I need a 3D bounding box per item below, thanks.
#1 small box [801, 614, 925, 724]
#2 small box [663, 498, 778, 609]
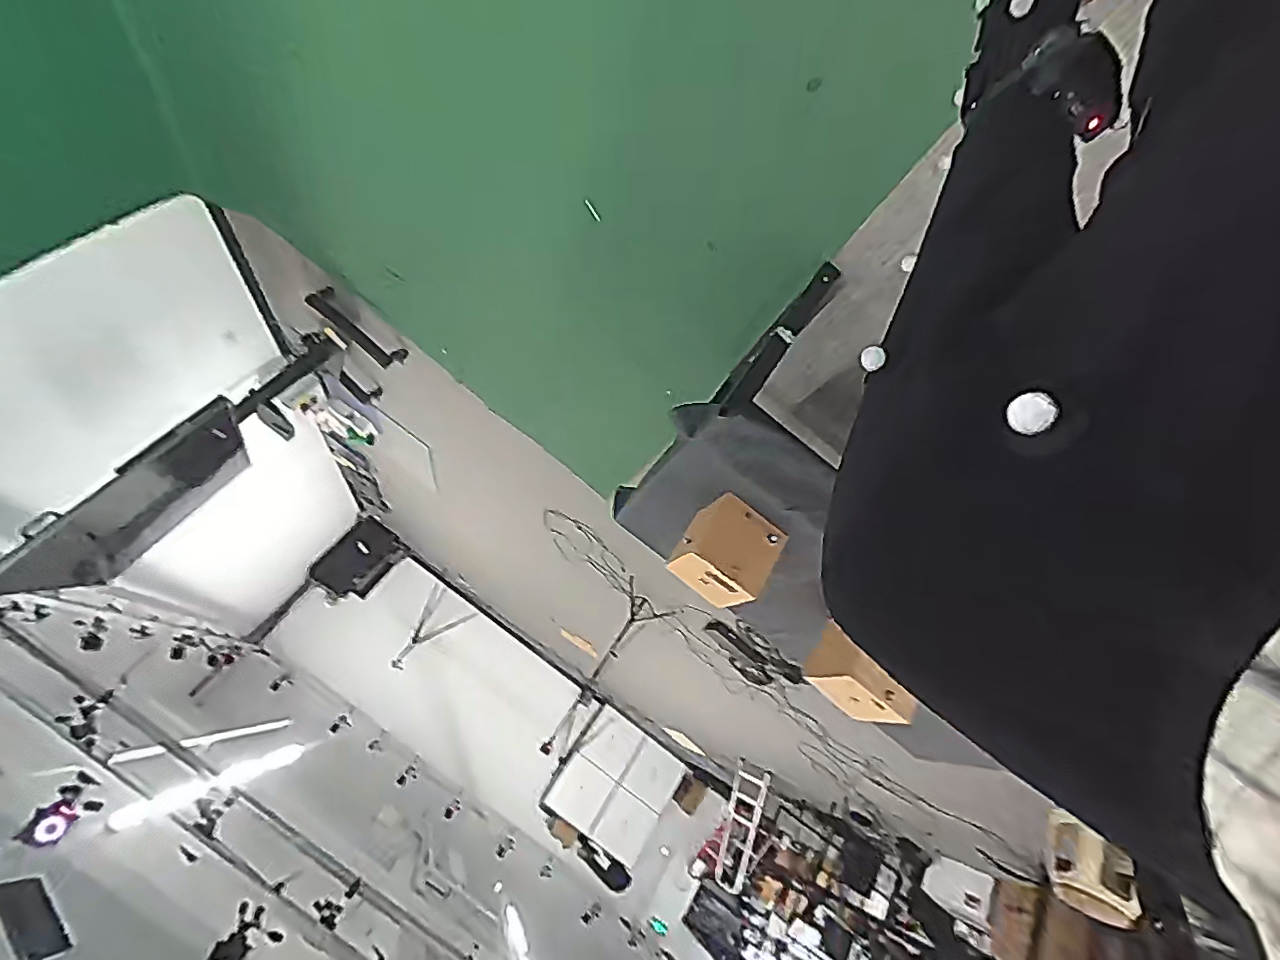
[{"bbox_3d":[0.511,0.428,1.238,0.168,0.176,0.179,39,153,-3],"label":"small box"},{"bbox_3d":[0.184,0.164,1.207,0.168,0.176,0.179,38,154,-3],"label":"small box"}]
